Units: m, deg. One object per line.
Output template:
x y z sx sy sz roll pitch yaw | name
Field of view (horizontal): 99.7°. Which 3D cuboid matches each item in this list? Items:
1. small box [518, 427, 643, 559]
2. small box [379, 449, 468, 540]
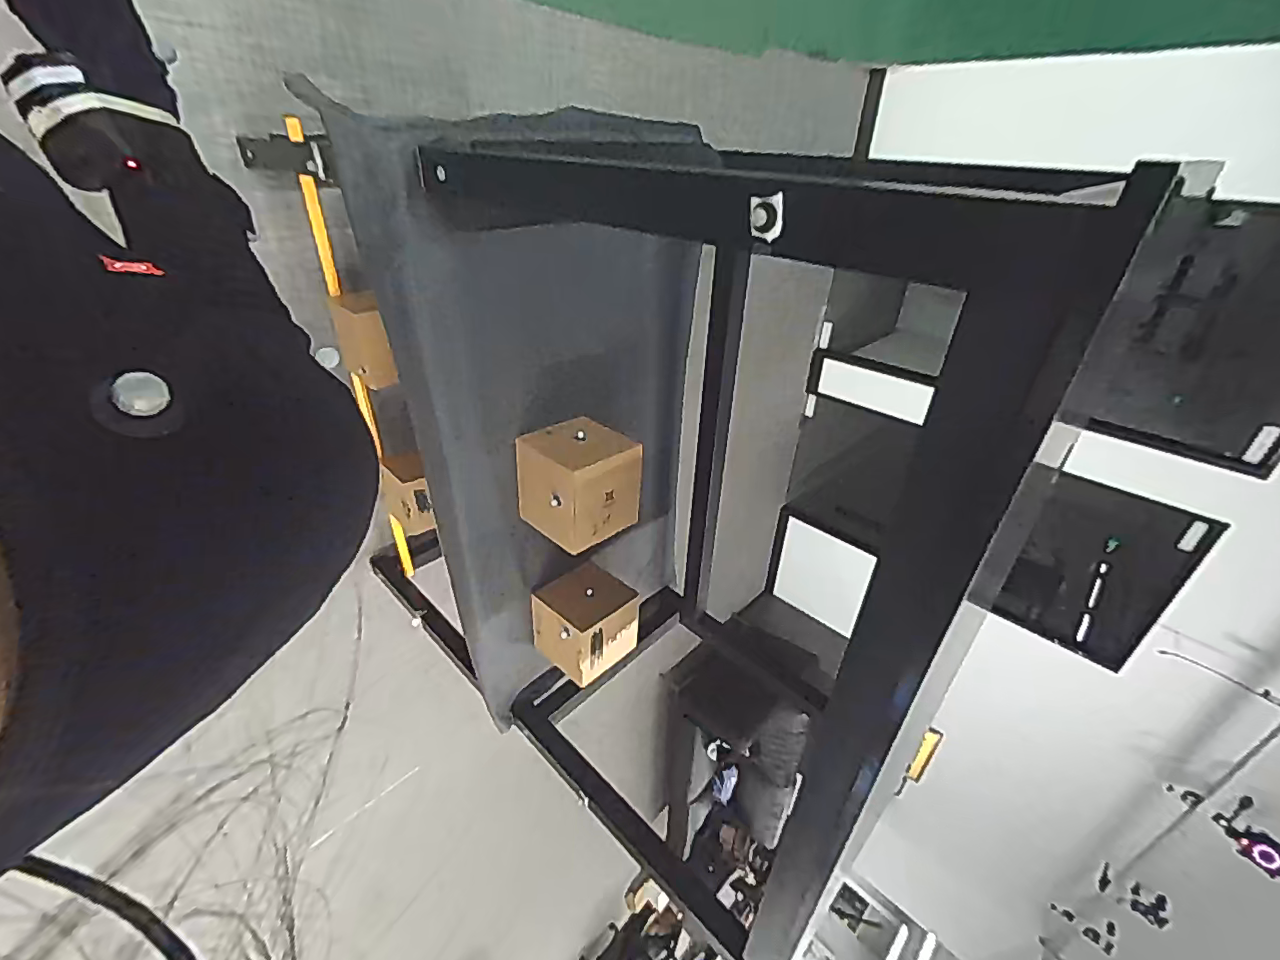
-0.115 0.013 1.017 0.168 0.176 0.179 -25 131 -40 | small box
-0.603 0.034 1.500 0.179 0.176 0.168 -24 130 -40 | small box
